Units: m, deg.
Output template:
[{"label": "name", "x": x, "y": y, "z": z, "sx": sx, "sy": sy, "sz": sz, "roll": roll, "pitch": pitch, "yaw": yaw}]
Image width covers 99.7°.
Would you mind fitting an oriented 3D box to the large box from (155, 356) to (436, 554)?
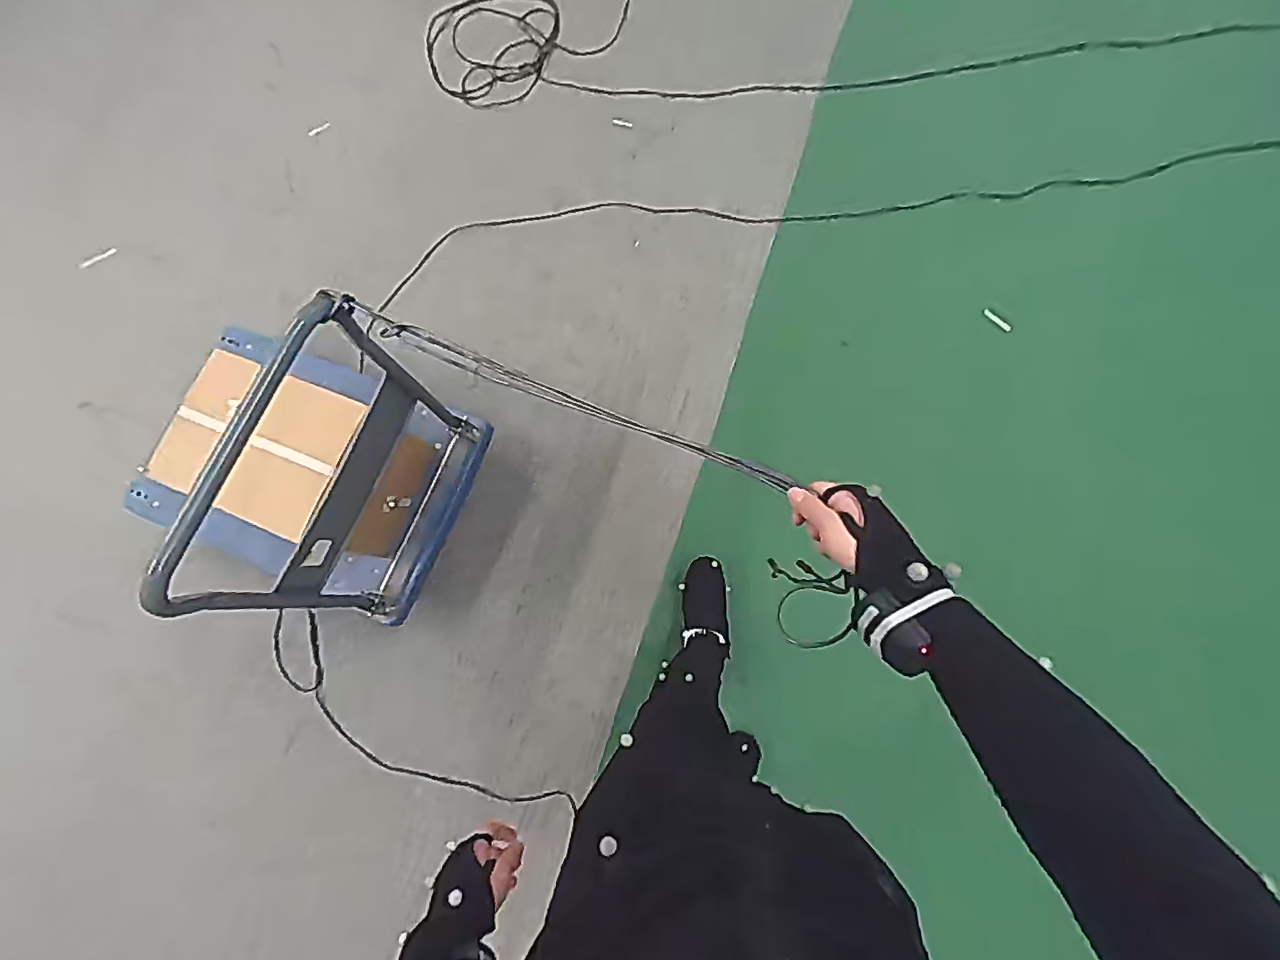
[{"label": "large box", "x": -0.777, "y": -0.042, "z": 1.280, "sx": 0.408, "sy": 0.320, "sz": 0.320, "roll": 20, "pitch": 79, "yaw": 10}]
